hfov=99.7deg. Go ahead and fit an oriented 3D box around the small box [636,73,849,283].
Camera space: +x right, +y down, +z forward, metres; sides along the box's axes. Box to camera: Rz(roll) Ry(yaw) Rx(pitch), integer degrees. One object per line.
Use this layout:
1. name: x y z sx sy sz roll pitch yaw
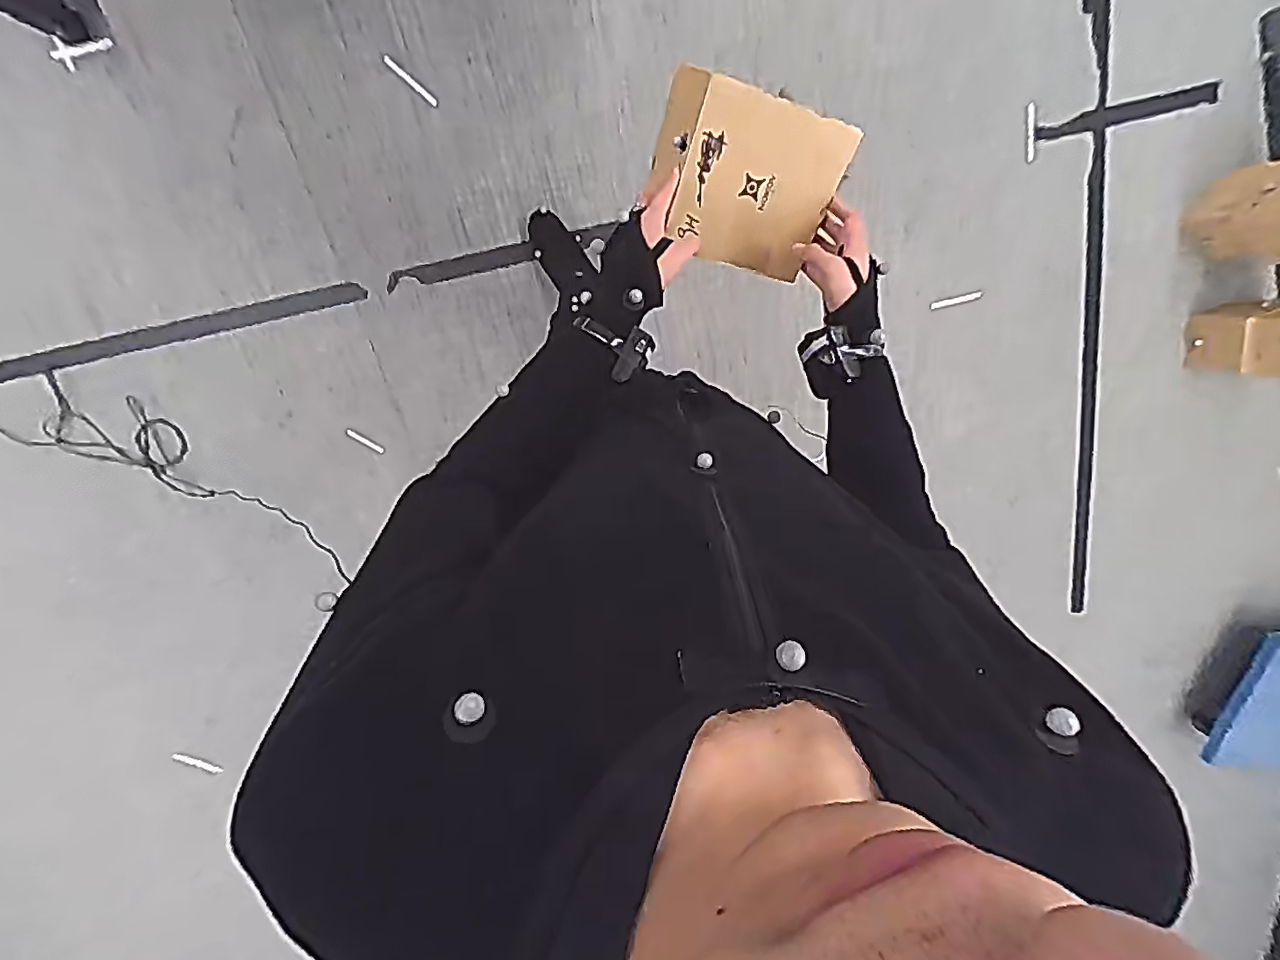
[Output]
1. small box: 0.107 -0.366 0.653 0.179 0.176 0.168 8 128 -17
